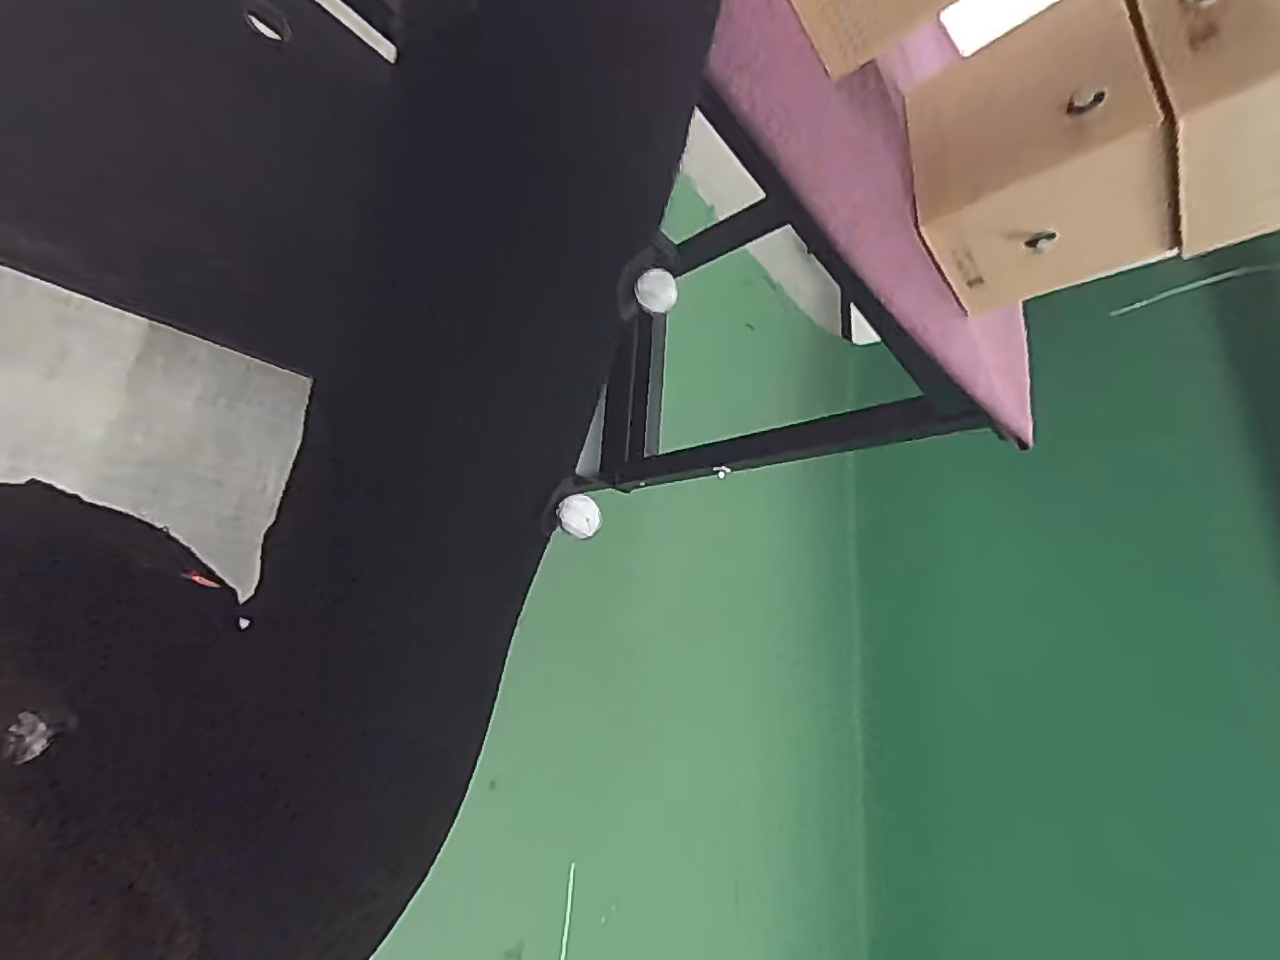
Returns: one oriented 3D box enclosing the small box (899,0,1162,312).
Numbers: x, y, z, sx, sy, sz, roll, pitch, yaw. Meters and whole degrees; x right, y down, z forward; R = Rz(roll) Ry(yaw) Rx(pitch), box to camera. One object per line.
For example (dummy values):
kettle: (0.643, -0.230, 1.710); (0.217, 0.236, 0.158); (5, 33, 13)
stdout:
small box: (0.365, -0.293, 0.519); (0.168, 0.176, 0.179); (24, 63, -43)
